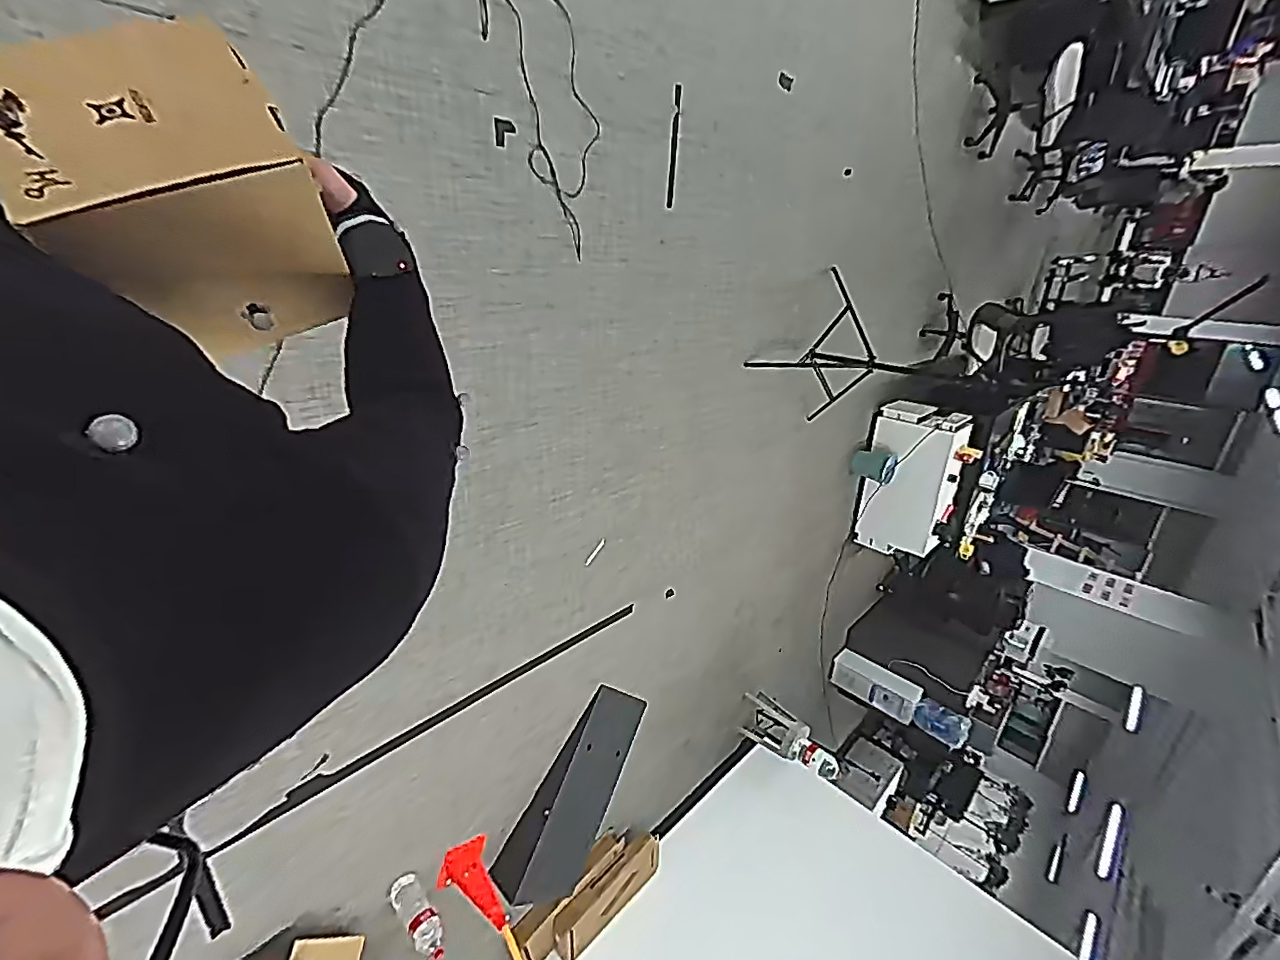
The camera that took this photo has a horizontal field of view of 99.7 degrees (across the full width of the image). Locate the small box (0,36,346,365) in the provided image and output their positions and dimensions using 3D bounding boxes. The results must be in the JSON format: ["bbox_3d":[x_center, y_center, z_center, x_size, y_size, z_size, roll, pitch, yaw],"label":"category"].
[{"bbox_3d":[-0.385,-0.234,0.472,0.179,0.168,0.176,-30,166,-22],"label":"small box"}]
